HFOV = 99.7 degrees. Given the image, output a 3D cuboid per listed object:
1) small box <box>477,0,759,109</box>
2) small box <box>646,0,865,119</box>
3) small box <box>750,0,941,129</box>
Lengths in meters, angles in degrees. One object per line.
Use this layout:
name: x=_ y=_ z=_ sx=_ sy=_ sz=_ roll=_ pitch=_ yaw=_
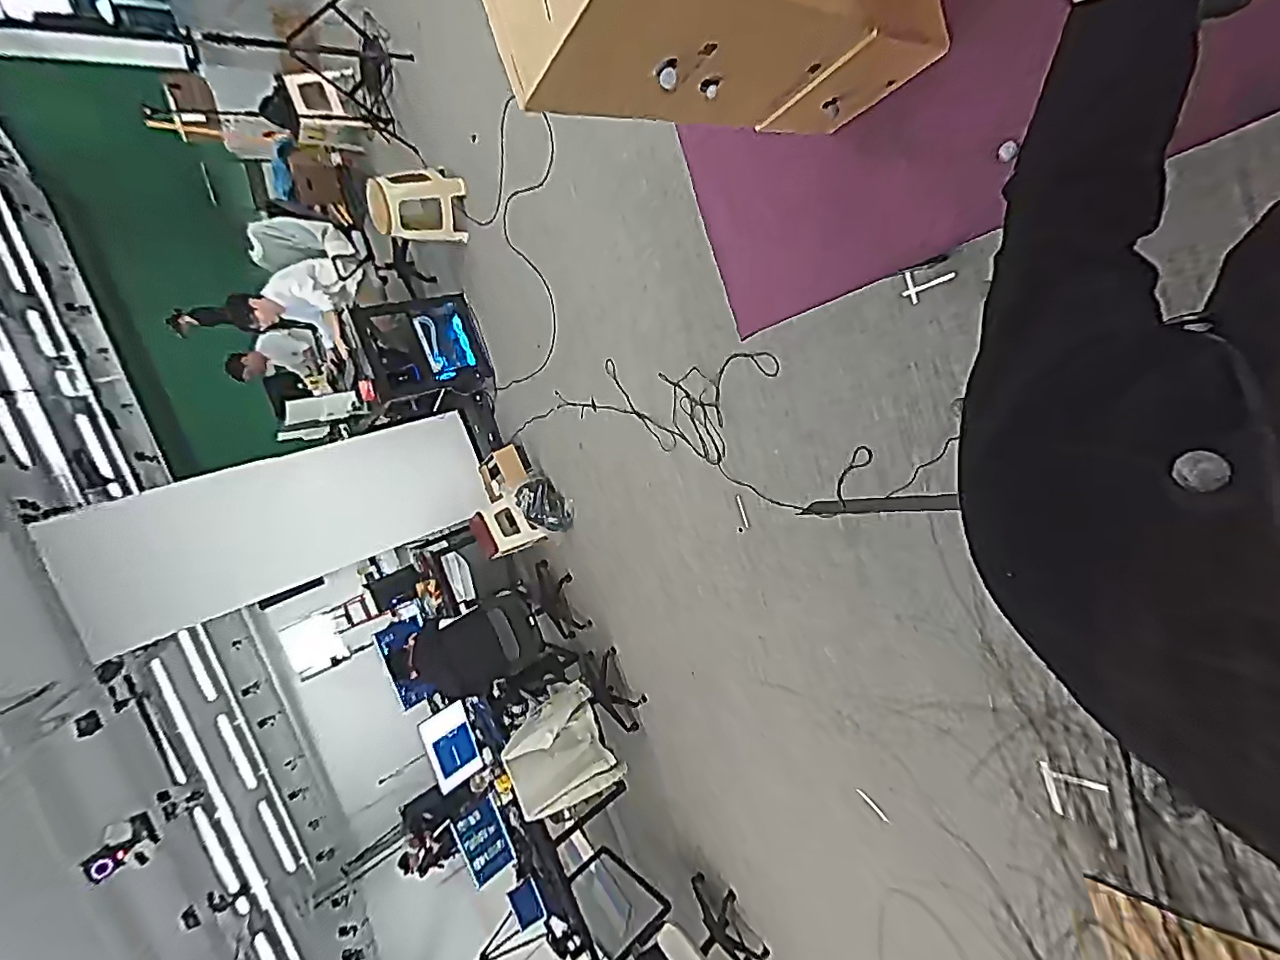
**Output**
small box: x=-0.029 y=-0.442 z=0.446 sx=0.168 sy=0.176 sz=0.179 roll=-6 pitch=105 yaw=55
small box: x=0.094 y=-0.498 z=0.541 sx=0.168 sy=0.176 sz=0.179 roll=-7 pitch=102 yaw=55
small box: x=0.221 y=-0.547 z=0.632 sx=0.168 sy=0.176 sz=0.179 roll=-6 pitch=104 yaw=55
